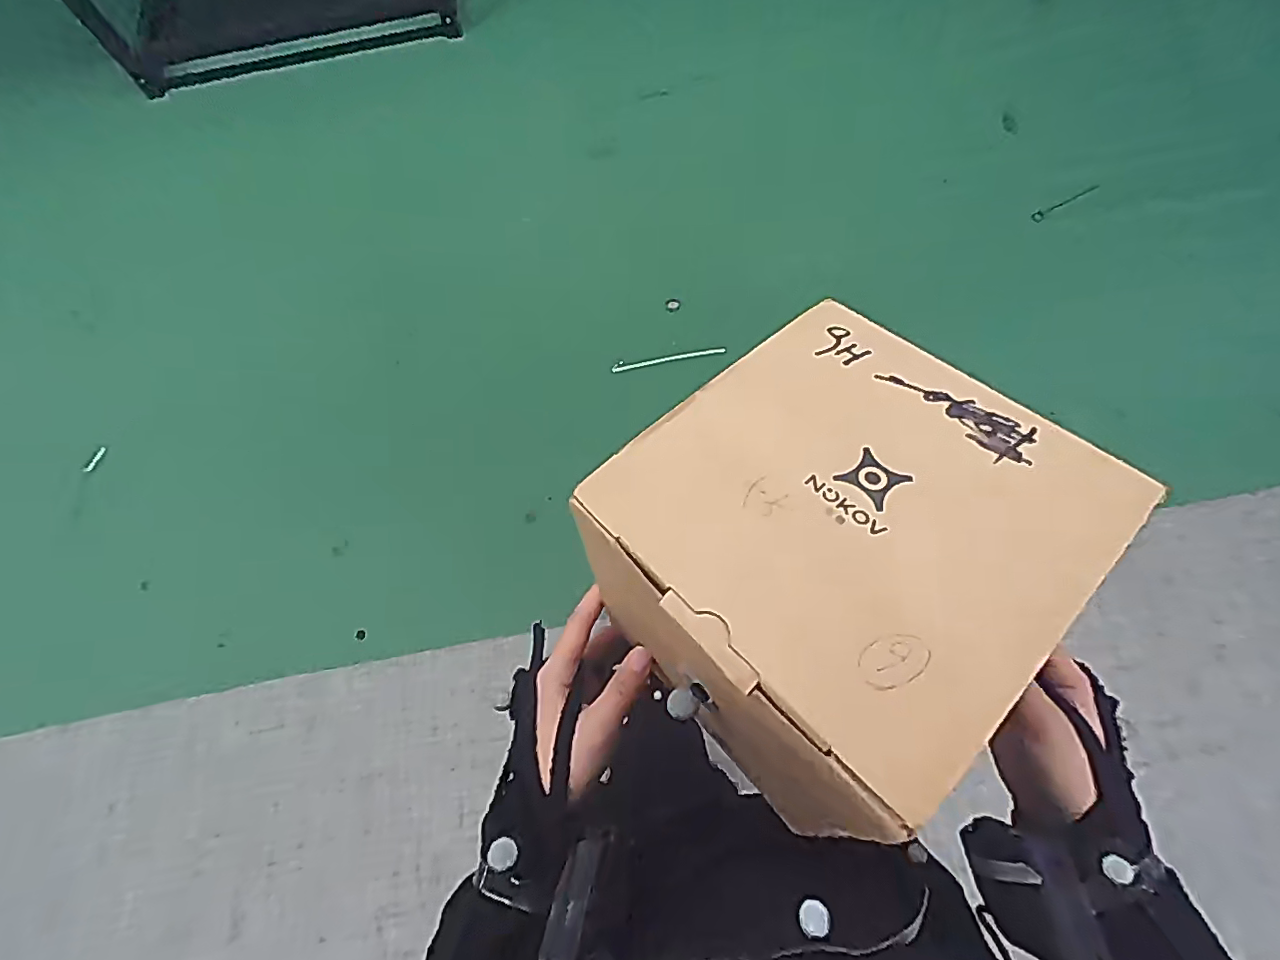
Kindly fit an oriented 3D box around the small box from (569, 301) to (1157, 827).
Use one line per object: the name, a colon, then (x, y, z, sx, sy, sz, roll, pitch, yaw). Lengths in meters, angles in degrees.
small box: (0.092, 0.049, 0.287, 0.179, 0.176, 0.168, -38, 62, -18)
